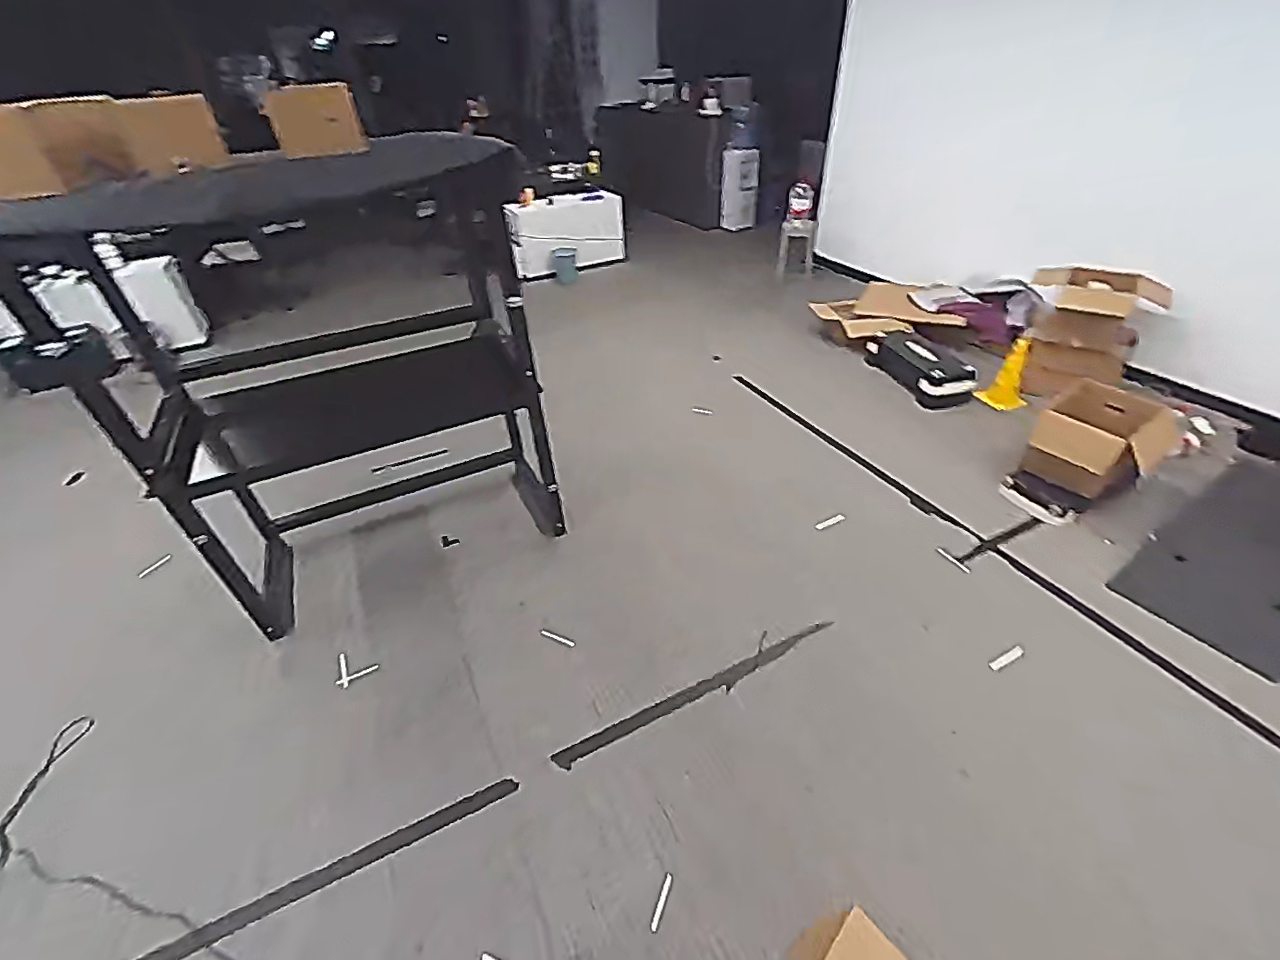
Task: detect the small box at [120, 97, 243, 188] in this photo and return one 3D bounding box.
[{"bbox_3d":[-1.093,-0.814,1.305,0.168,0.176,0.179,-23,41,-22],"label":"small box"}]

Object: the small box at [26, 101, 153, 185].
[{"bbox_3d":[-1.442,-0.891,1.427,0.179,0.176,0.168,-20,41,-21],"label":"small box"}]

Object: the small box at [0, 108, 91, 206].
[{"bbox_3d":[-1.387,-0.712,1.192,0.179,0.176,0.168,-21,41,-23],"label":"small box"}]

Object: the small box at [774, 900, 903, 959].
[{"bbox_3d":[0.207,0.596,0.555,0.179,0.176,0.168,-27,55,-39],"label":"small box"}]

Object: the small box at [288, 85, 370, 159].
[{"bbox_3d":[-0.933,-1.076,1.628,0.168,0.176,0.179,-20,41,-20],"label":"small box"}]
